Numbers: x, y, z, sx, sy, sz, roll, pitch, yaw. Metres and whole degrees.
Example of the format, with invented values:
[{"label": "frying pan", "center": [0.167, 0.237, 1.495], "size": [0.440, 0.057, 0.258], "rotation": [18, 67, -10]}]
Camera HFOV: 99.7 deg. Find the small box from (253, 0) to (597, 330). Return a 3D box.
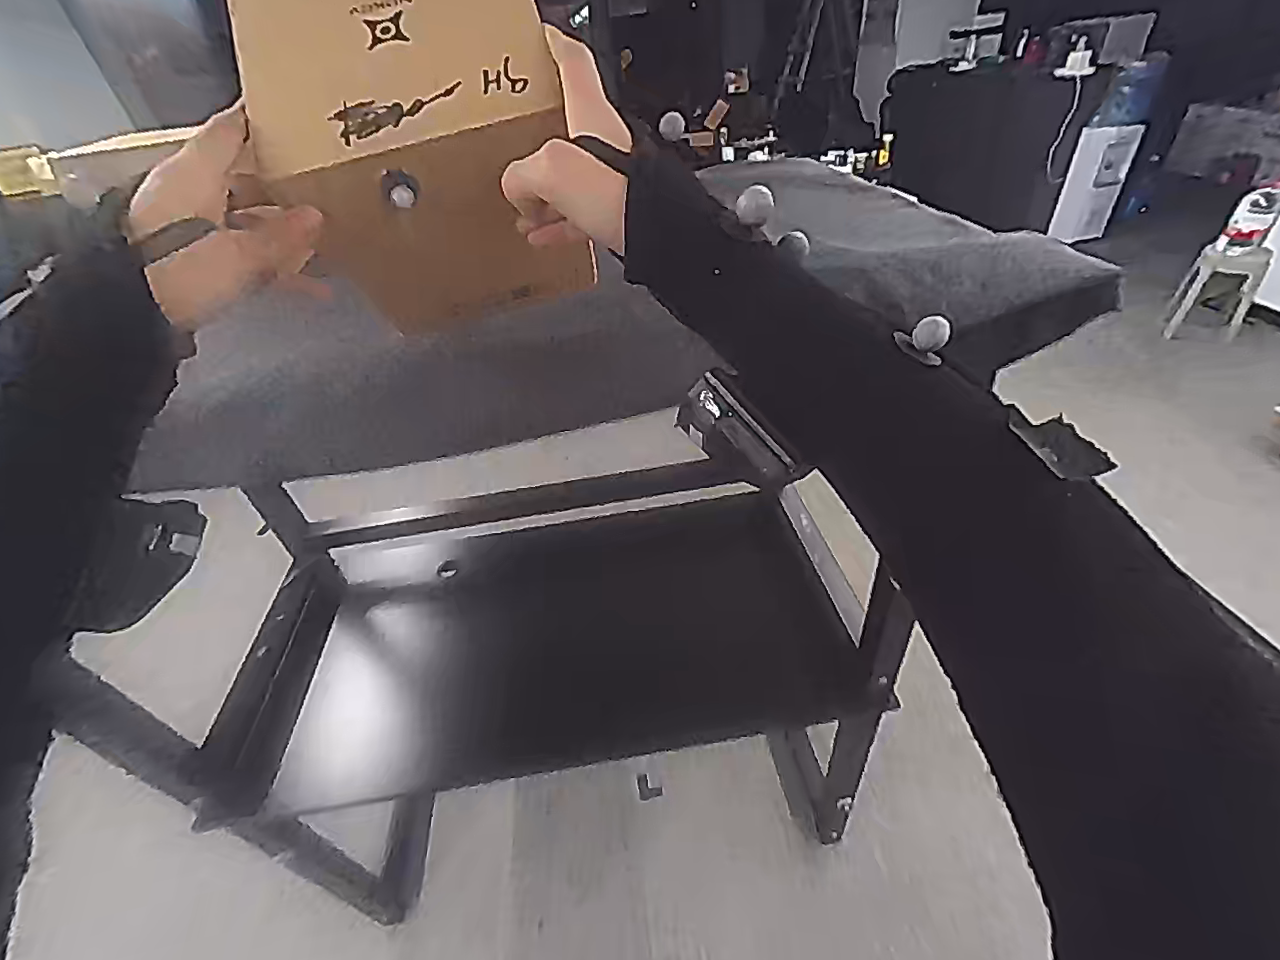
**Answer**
[{"label": "small box", "center": [-0.134, -0.239, 0.387], "size": [0.168, 0.176, 0.179], "rotation": [-15, 75, -2]}]
